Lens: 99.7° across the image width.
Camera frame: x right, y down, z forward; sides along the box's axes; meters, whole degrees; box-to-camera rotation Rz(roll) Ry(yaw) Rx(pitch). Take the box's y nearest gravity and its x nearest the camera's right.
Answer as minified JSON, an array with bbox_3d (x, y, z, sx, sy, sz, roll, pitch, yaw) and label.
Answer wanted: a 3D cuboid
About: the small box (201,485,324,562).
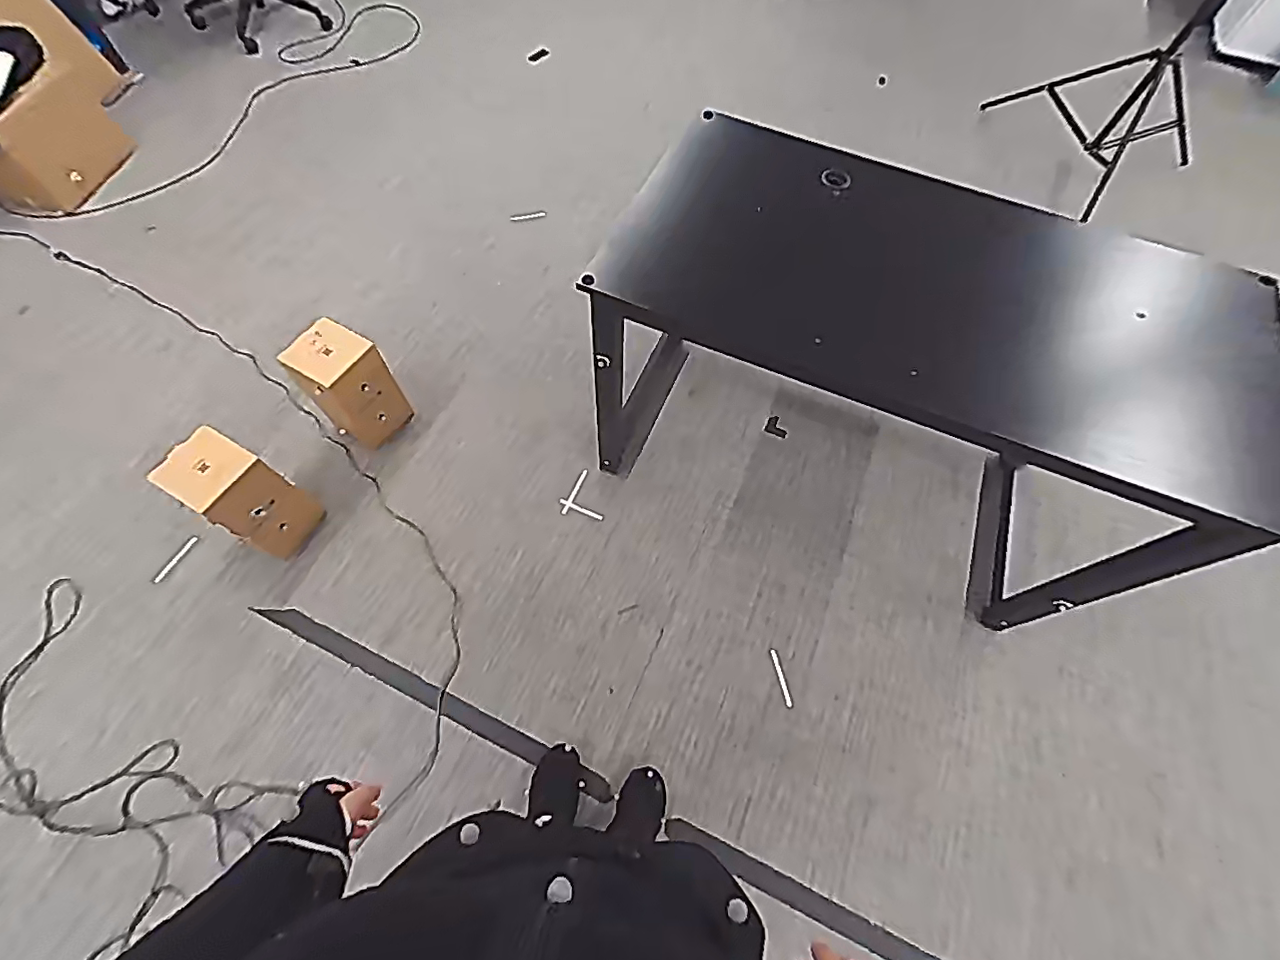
[{"bbox_3d":[-0.989,0.094,1.439,0.168,0.176,0.179,23,65,9],"label":"small box"}]

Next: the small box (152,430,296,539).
[{"bbox_3d":[-0.984,0.017,1.295,0.179,0.176,0.168,28,66,10],"label":"small box"}]

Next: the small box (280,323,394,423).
[{"bbox_3d":[-0.798,-0.277,1.447,0.179,0.176,0.168,27,64,11],"label":"small box"}]

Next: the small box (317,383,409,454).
[{"bbox_3d":[-0.812,-0.212,1.598,0.168,0.176,0.179,30,66,12],"label":"small box"}]
